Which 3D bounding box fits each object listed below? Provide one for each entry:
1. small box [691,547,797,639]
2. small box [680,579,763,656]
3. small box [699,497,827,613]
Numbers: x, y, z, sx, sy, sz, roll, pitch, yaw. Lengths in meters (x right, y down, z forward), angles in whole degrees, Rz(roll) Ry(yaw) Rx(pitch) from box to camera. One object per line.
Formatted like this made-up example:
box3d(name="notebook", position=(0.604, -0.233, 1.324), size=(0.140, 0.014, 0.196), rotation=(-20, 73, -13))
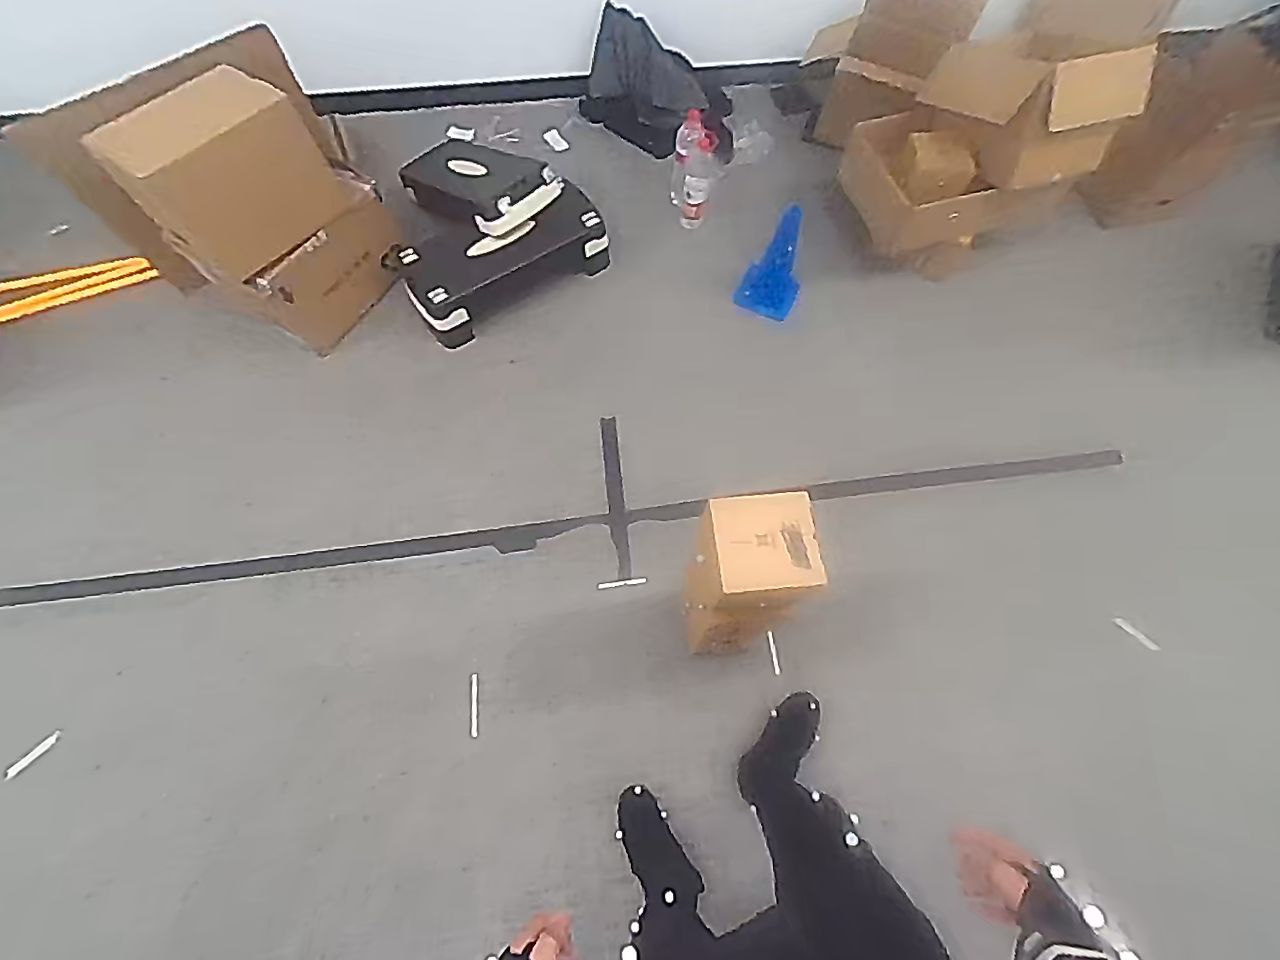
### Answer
box3d(name="small box", position=(0.204, 0.221, 1.118), size=(0.168, 0.176, 0.179), rotation=(-6, 68, -4))
box3d(name="small box", position=(0.206, 0.352, 1.418), size=(0.168, 0.176, 0.179), rotation=(-10, 69, -5))
box3d(name="small box", position=(0.210, 0.139, 0.974), size=(0.179, 0.176, 0.168), rotation=(-5, 67, -3))
